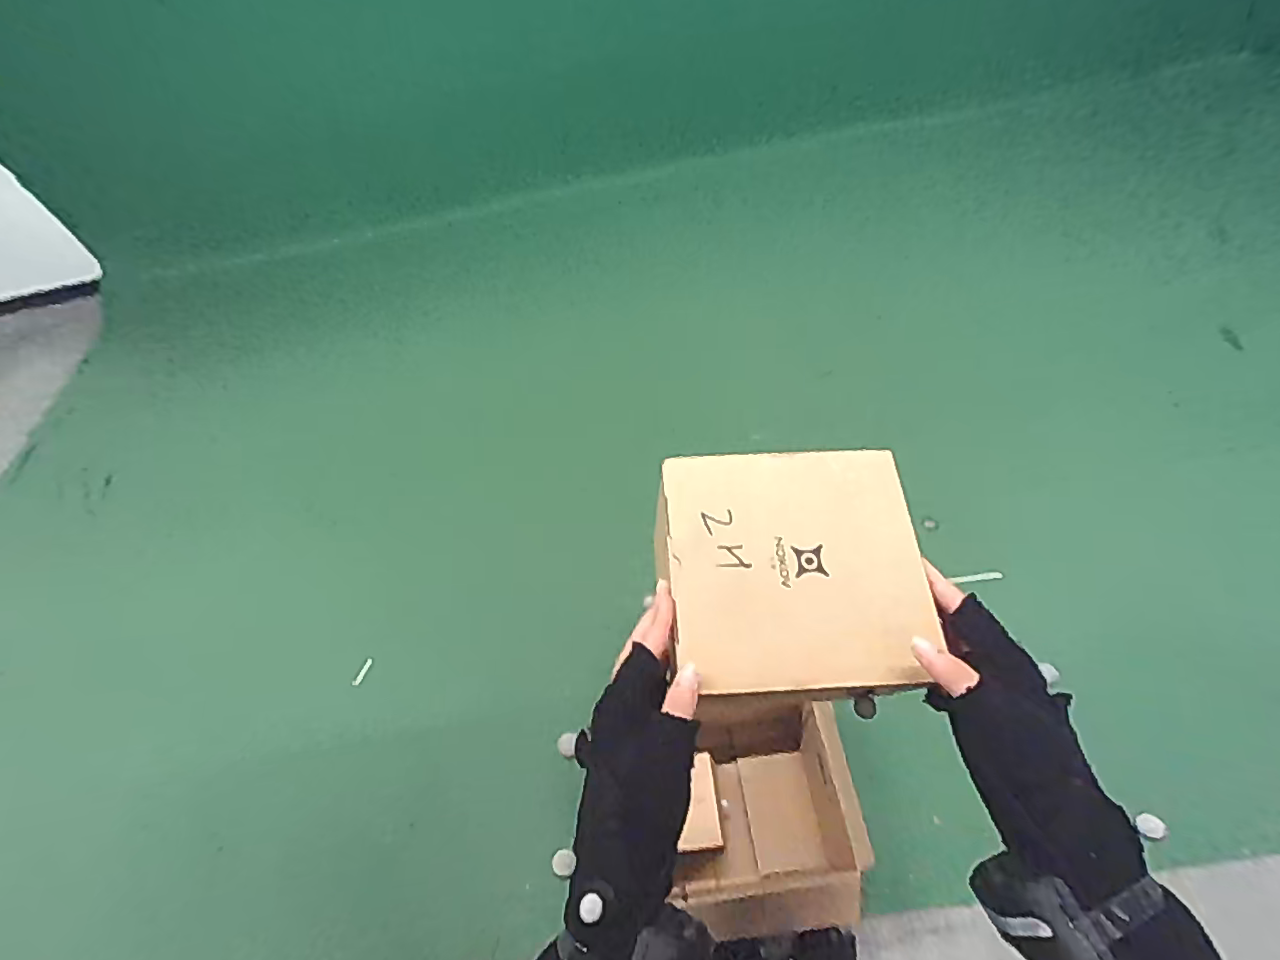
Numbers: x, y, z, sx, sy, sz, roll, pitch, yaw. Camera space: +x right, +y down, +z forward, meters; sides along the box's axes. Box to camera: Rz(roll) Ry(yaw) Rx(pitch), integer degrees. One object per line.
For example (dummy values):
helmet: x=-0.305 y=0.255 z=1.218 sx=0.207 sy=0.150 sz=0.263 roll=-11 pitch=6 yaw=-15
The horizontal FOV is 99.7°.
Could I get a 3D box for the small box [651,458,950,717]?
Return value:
small box: x=0.101 y=0.095 z=0.436 sx=0.179 sy=0.176 sz=0.168 roll=-3 pitch=63 yaw=-1
